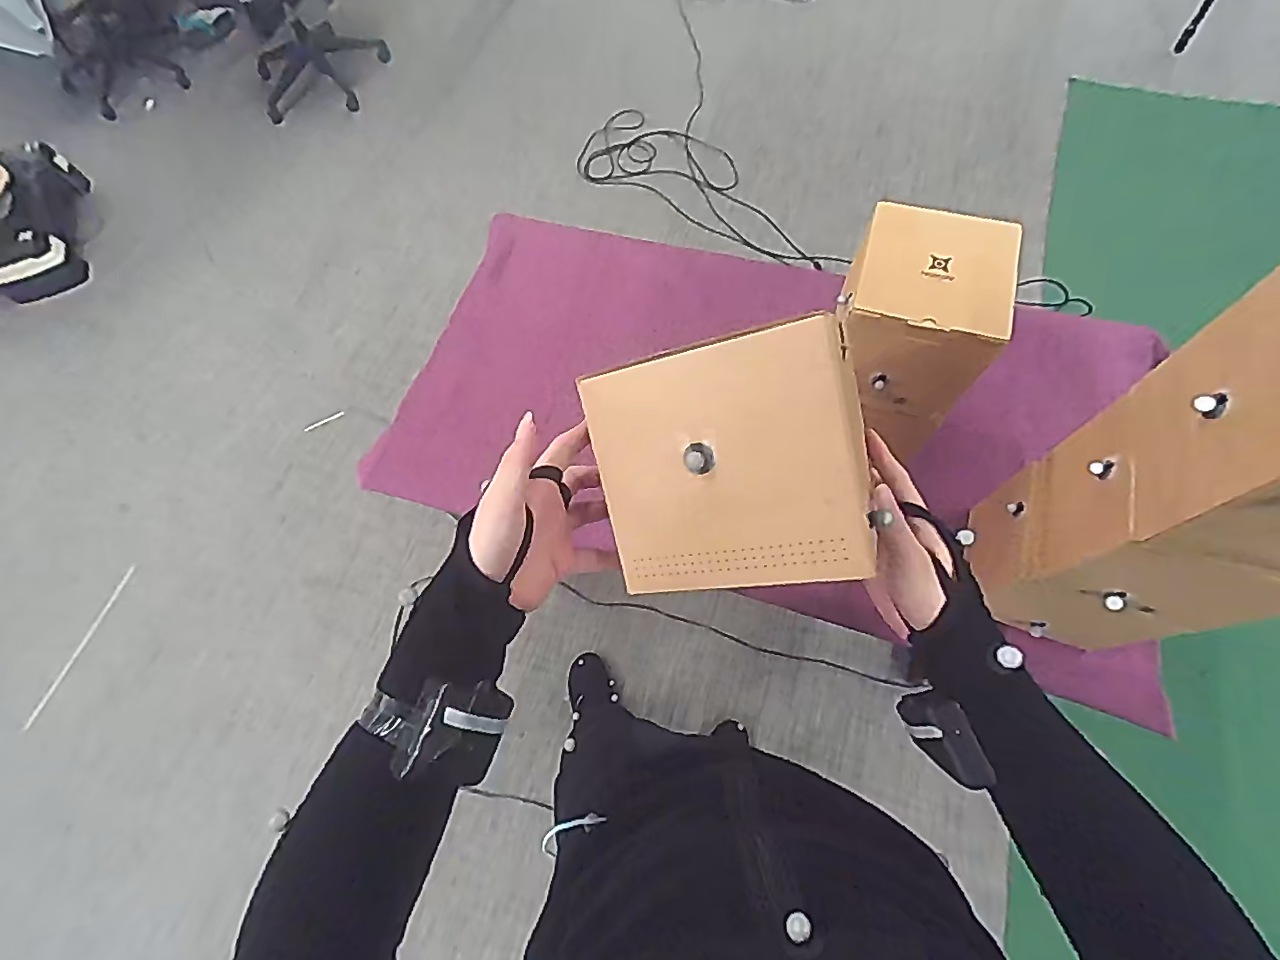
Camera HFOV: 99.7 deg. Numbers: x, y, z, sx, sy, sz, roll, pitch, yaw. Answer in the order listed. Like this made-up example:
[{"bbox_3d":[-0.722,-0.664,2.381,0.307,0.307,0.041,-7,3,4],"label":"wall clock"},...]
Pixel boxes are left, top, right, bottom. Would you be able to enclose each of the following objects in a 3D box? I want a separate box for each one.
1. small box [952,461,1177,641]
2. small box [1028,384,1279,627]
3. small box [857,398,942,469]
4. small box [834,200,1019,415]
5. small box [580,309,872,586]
[{"bbox_3d":[0.553,0.102,0.717,0.179,0.176,0.168,19,68,13],"label":"small box"},{"bbox_3d":[0.545,0.034,0.568,0.168,0.176,0.179,18,69,13],"label":"small box"},{"bbox_3d":[0.359,-0.145,0.836,0.168,0.176,0.179,19,70,12],"label":"small box"},{"bbox_3d":[0.343,-0.212,0.689,0.168,0.176,0.179,16,70,10],"label":"small box"},{"bbox_3d":[0.082,-0.026,0.431,0.179,0.168,0.176,-10,98,25],"label":"small box"}]
